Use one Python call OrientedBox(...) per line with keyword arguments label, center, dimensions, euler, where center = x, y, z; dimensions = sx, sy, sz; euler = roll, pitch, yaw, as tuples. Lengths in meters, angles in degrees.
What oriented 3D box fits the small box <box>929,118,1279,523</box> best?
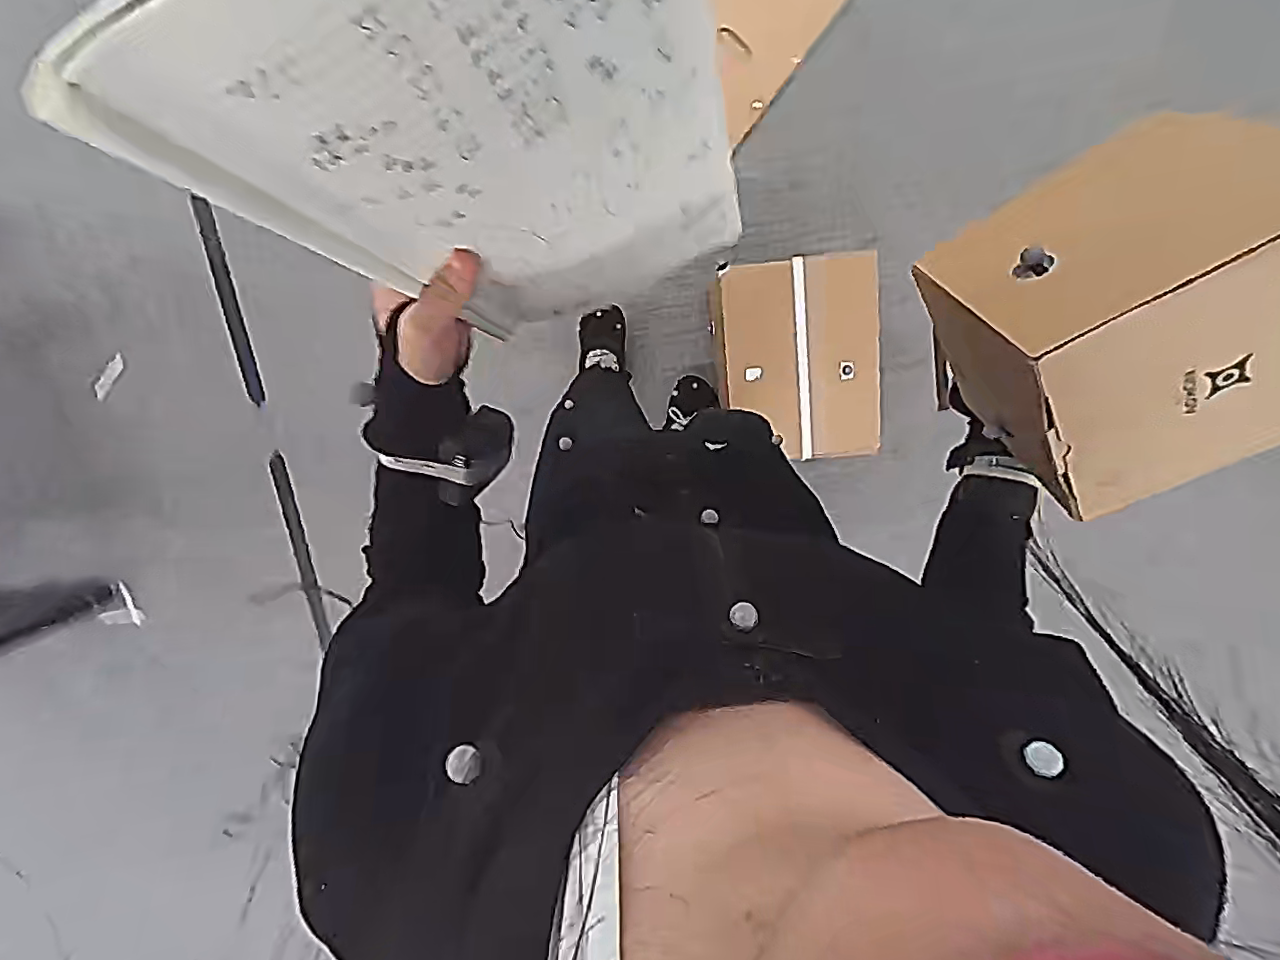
OrientedBox(label="small box", center=(0.331, -0.109, 0.374), dimensions=(0.179, 0.176, 0.168), euler=(-32, 126, 20))
